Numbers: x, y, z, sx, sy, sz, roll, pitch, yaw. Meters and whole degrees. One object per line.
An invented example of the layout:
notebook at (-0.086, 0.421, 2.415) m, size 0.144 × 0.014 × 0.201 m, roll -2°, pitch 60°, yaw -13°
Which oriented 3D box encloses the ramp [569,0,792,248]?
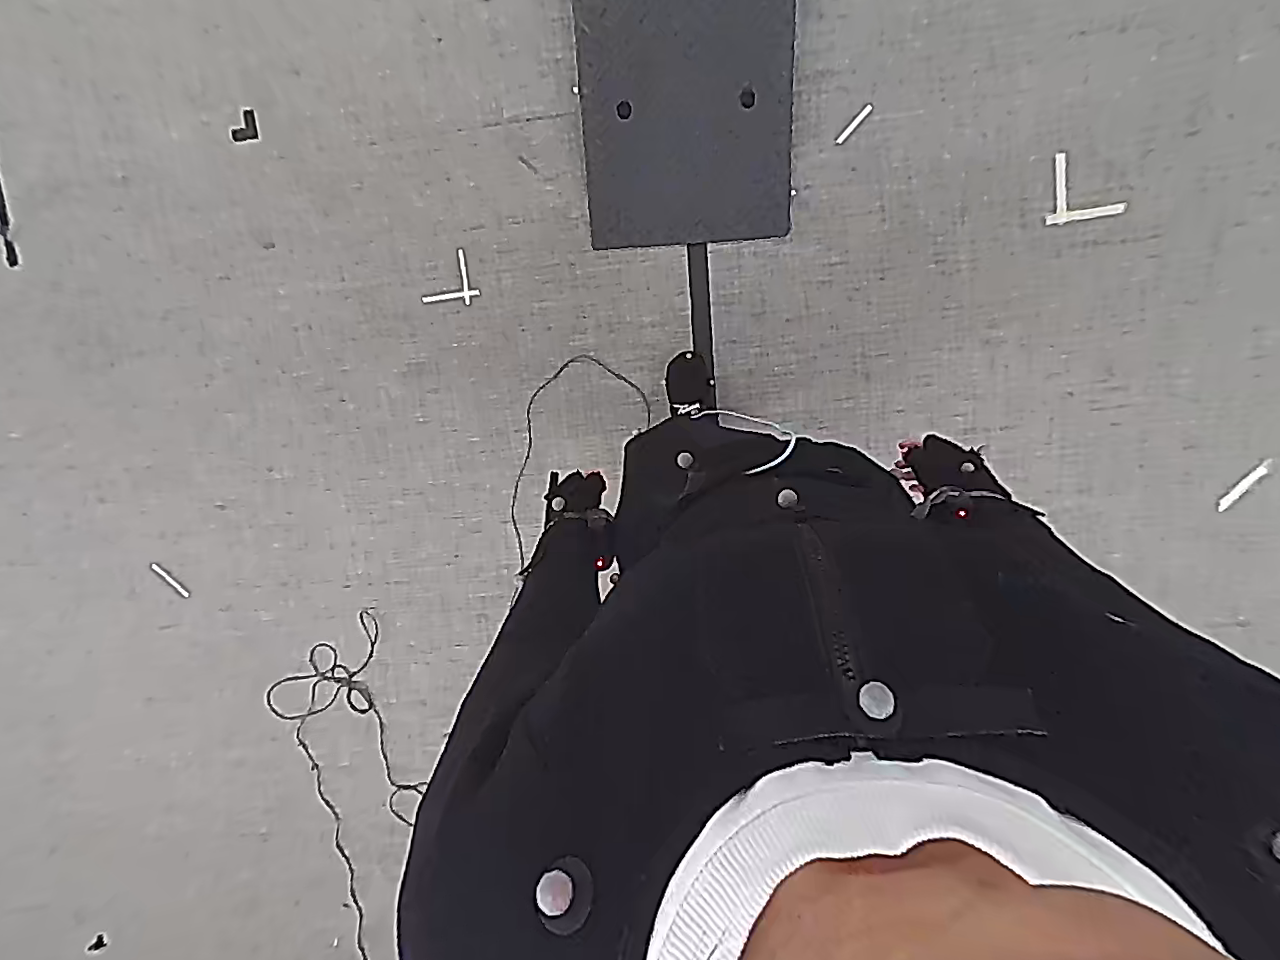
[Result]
ramp at (0.089, -1.066, 1.184) m, size 0.509 × 0.206 × 0.991 m, roll -4°, pitch 99°, yaw 4°
